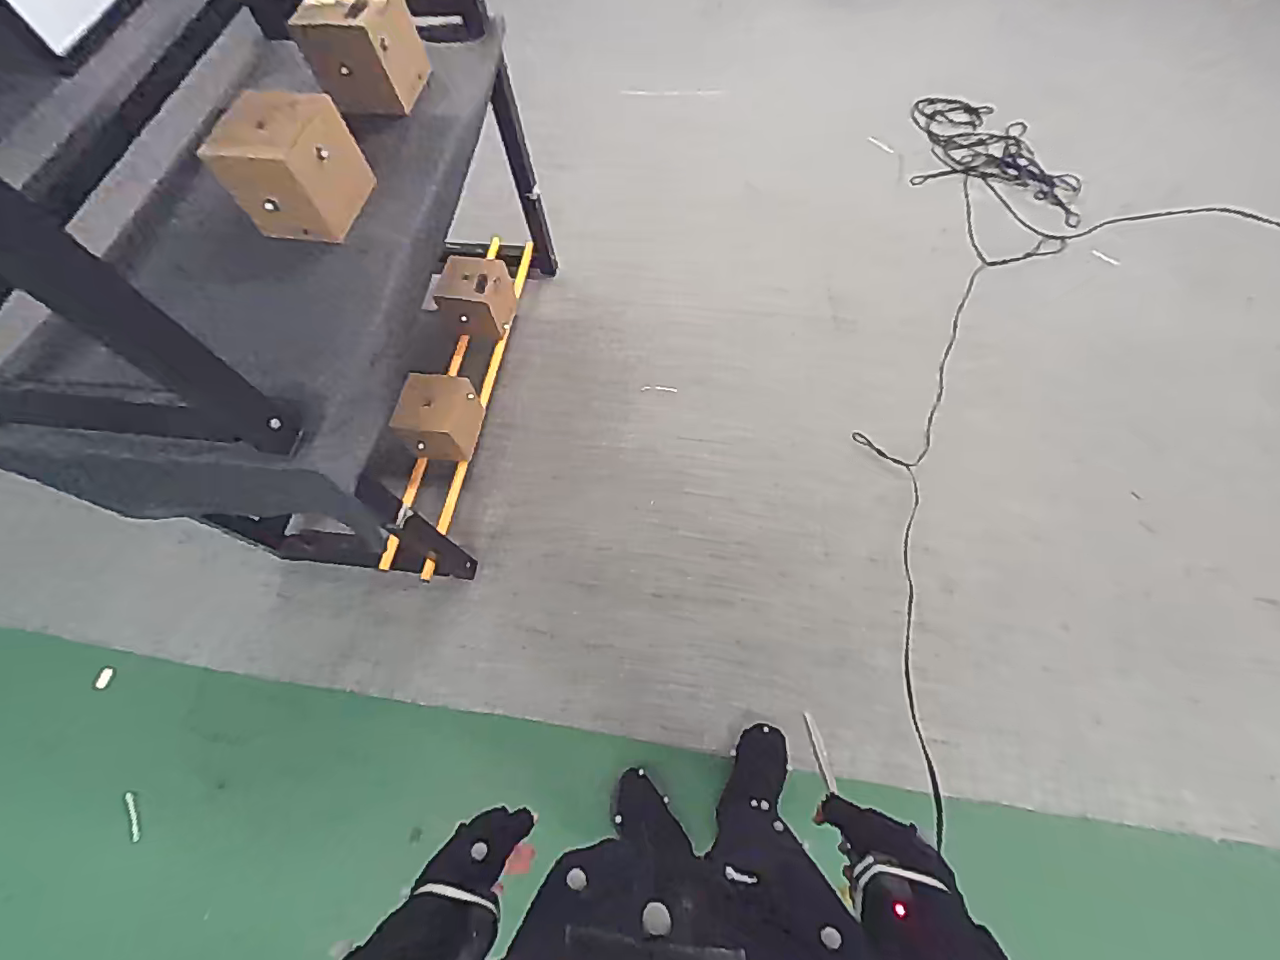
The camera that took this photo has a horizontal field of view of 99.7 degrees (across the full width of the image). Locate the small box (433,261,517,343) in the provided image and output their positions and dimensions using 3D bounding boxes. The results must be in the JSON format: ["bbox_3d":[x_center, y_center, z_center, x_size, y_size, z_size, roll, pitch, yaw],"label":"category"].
[{"bbox_3d":[-0.496,-0.540,1.657,0.179,0.176,0.168,9,65,8],"label":"small box"}]

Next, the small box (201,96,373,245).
[{"bbox_3d":[-0.623,-0.556,0.982,0.168,0.176,0.179,8,66,8],"label":"small box"}]
